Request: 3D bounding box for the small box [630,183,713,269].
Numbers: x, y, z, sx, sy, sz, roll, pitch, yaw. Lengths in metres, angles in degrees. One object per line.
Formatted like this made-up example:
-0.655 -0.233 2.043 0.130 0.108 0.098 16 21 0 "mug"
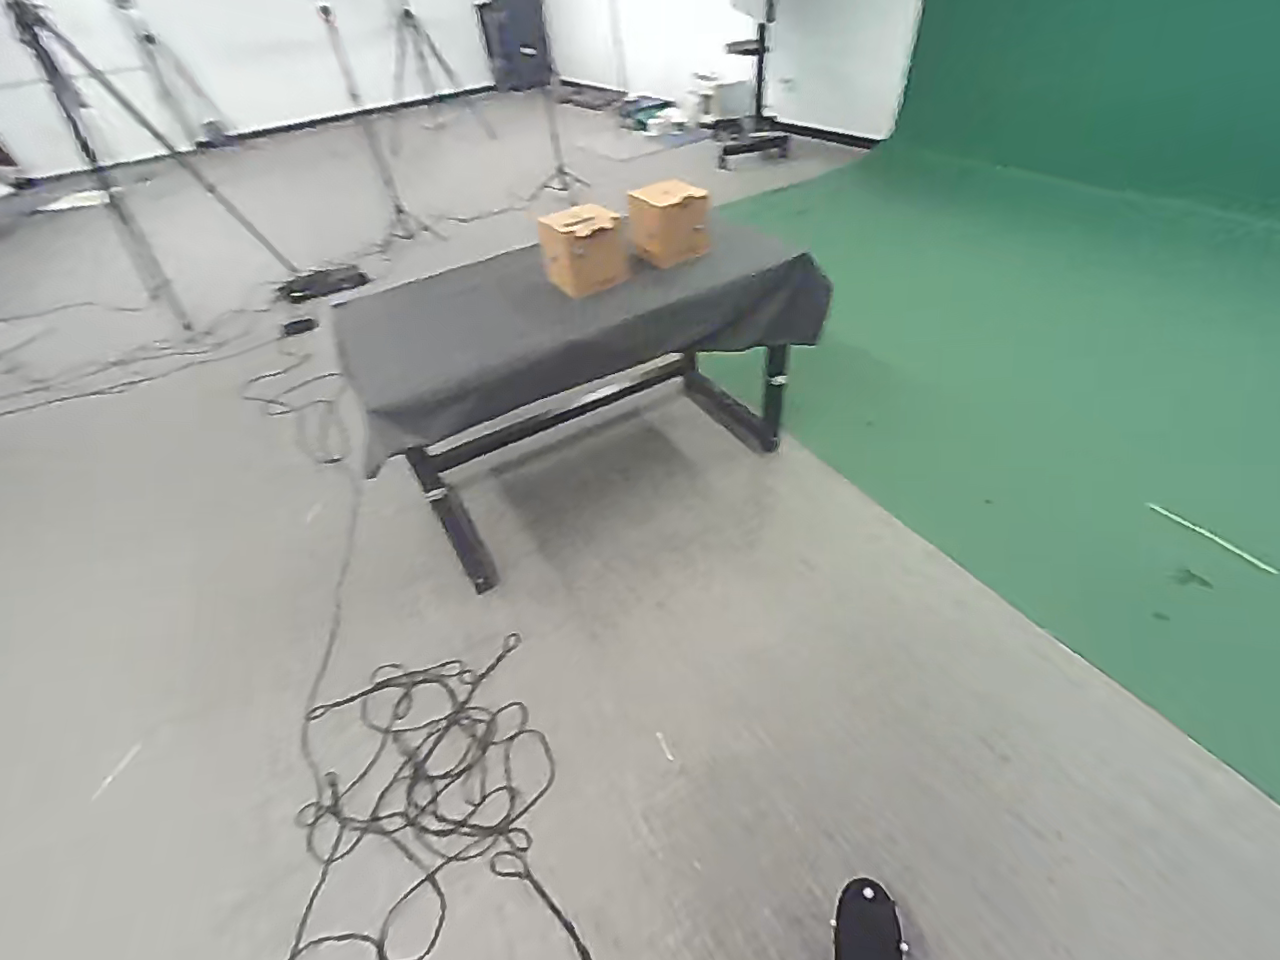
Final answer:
0.092 -0.714 1.527 0.168 0.176 0.179 -25 45 -19 "small box"
